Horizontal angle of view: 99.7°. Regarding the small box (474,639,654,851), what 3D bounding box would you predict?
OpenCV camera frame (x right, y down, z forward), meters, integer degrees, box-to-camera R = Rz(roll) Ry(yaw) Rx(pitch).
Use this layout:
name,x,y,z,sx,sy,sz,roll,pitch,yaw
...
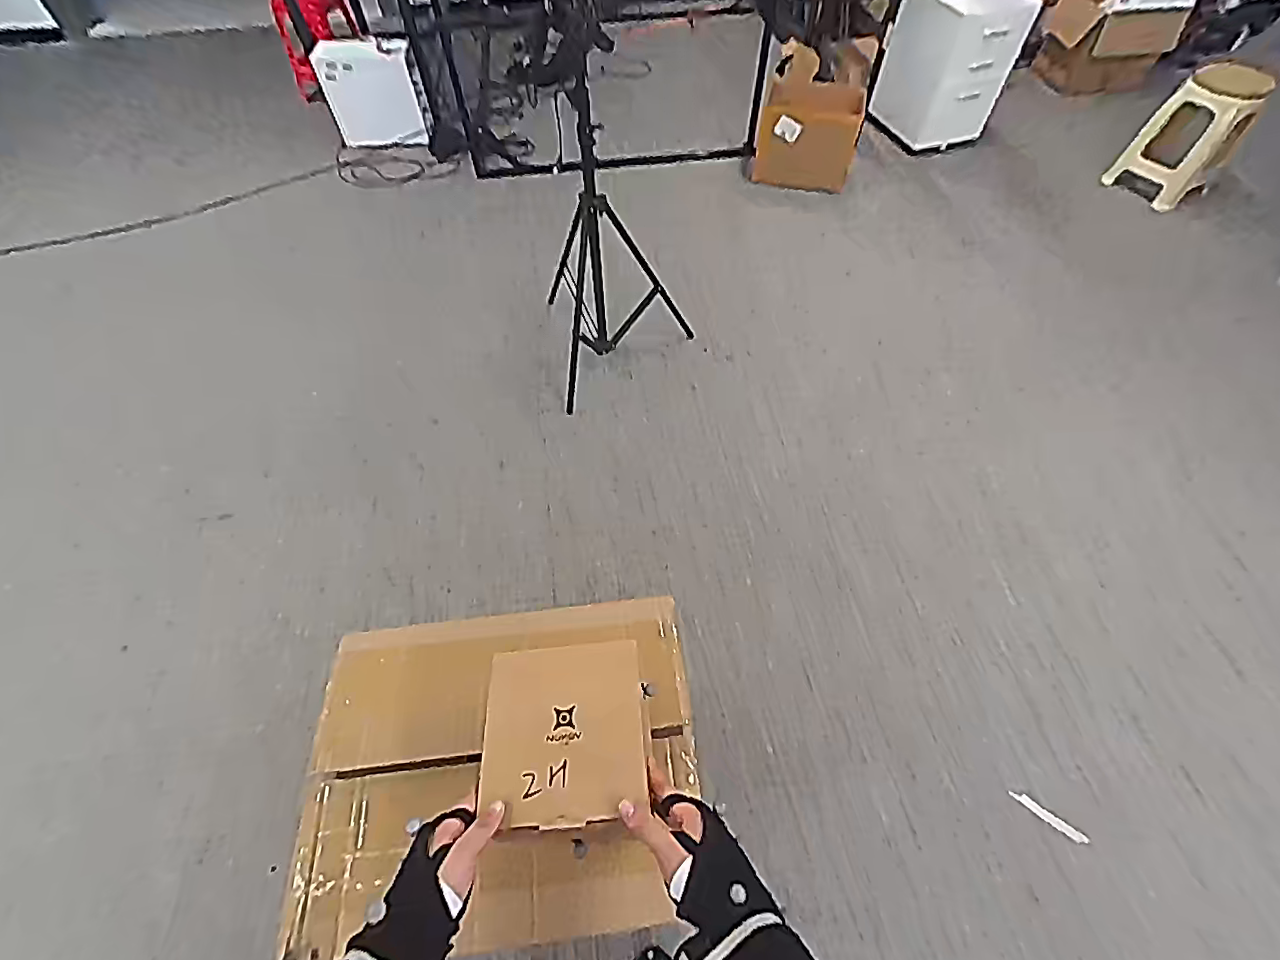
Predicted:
name,x,y,z,sx,sy,sz,roll,pitch,yaw
small box,-0.075,0.303,0.616,0.168,0.176,0.179,-6,50,1
